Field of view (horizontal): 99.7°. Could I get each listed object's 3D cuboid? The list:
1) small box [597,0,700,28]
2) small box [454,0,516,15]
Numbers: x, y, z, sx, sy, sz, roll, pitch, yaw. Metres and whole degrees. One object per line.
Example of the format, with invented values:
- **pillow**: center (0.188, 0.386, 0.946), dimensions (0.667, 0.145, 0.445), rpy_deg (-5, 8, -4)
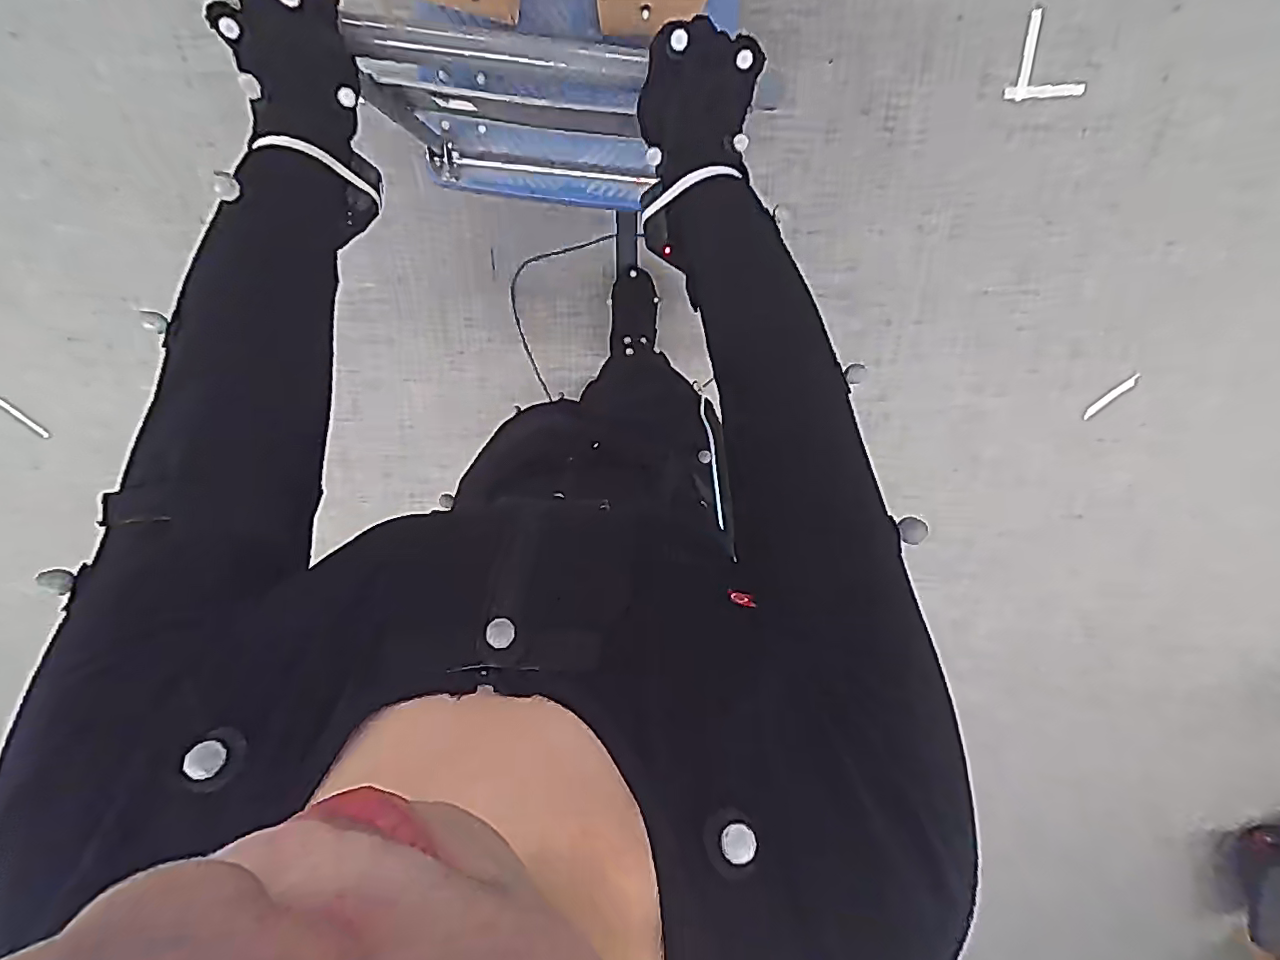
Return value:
- **small box**: center (0.014, -0.853, 0.863), dimensions (0.179, 0.176, 0.168), rpy_deg (-1, 114, -1)
- **small box**: center (-0.289, -0.877, 0.847), dimensions (0.179, 0.176, 0.168), rpy_deg (10, 113, -7)
